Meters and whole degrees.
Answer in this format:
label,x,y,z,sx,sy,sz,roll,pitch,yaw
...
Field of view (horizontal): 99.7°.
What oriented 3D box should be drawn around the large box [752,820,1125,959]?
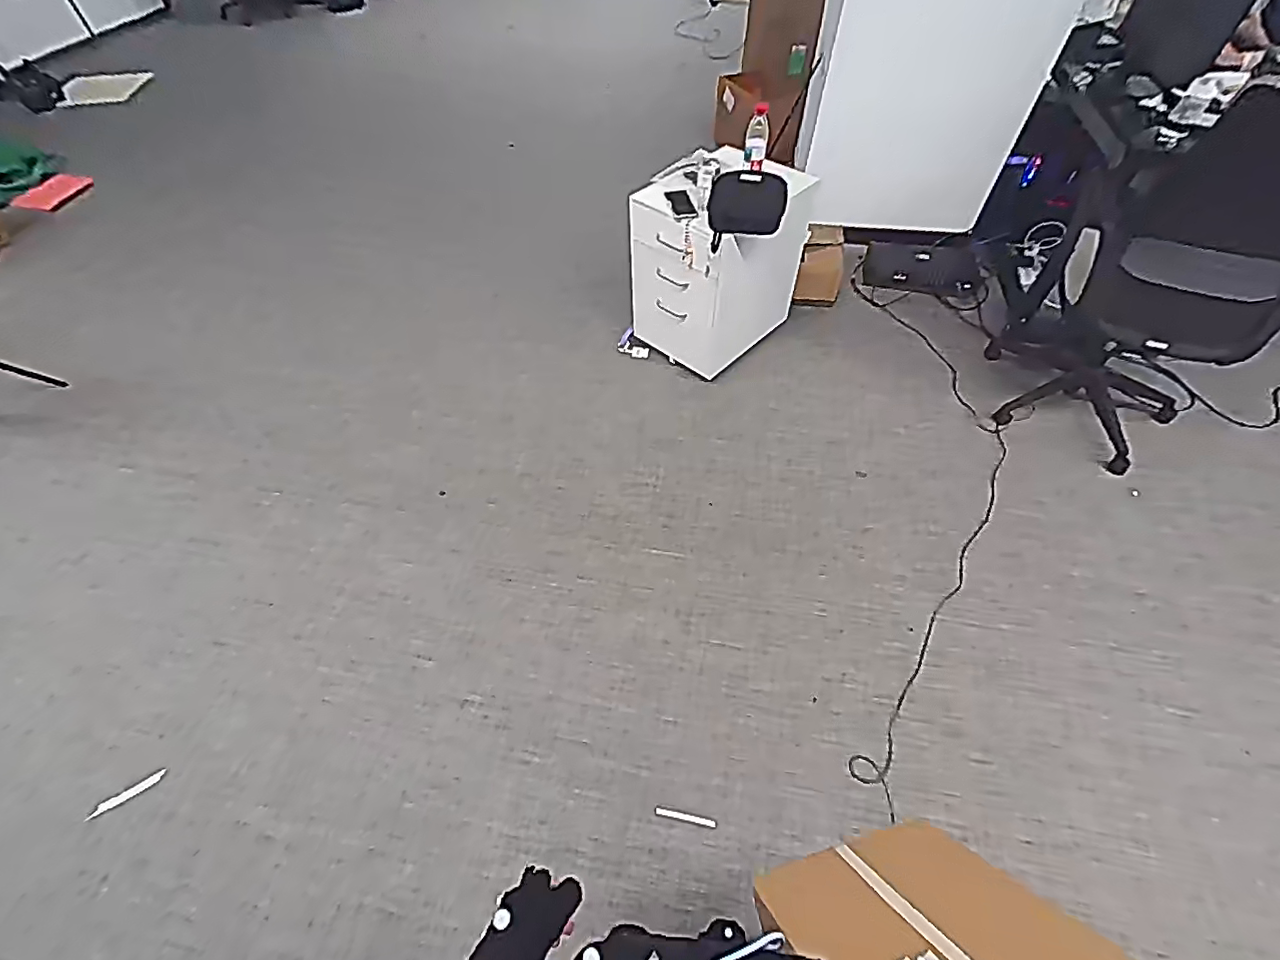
label,x,y,z,sx,sy,sz,roll,pitch,yaw
large box,0.385,0.711,0.665,0.320,0.408,0.320,-13,84,-12
